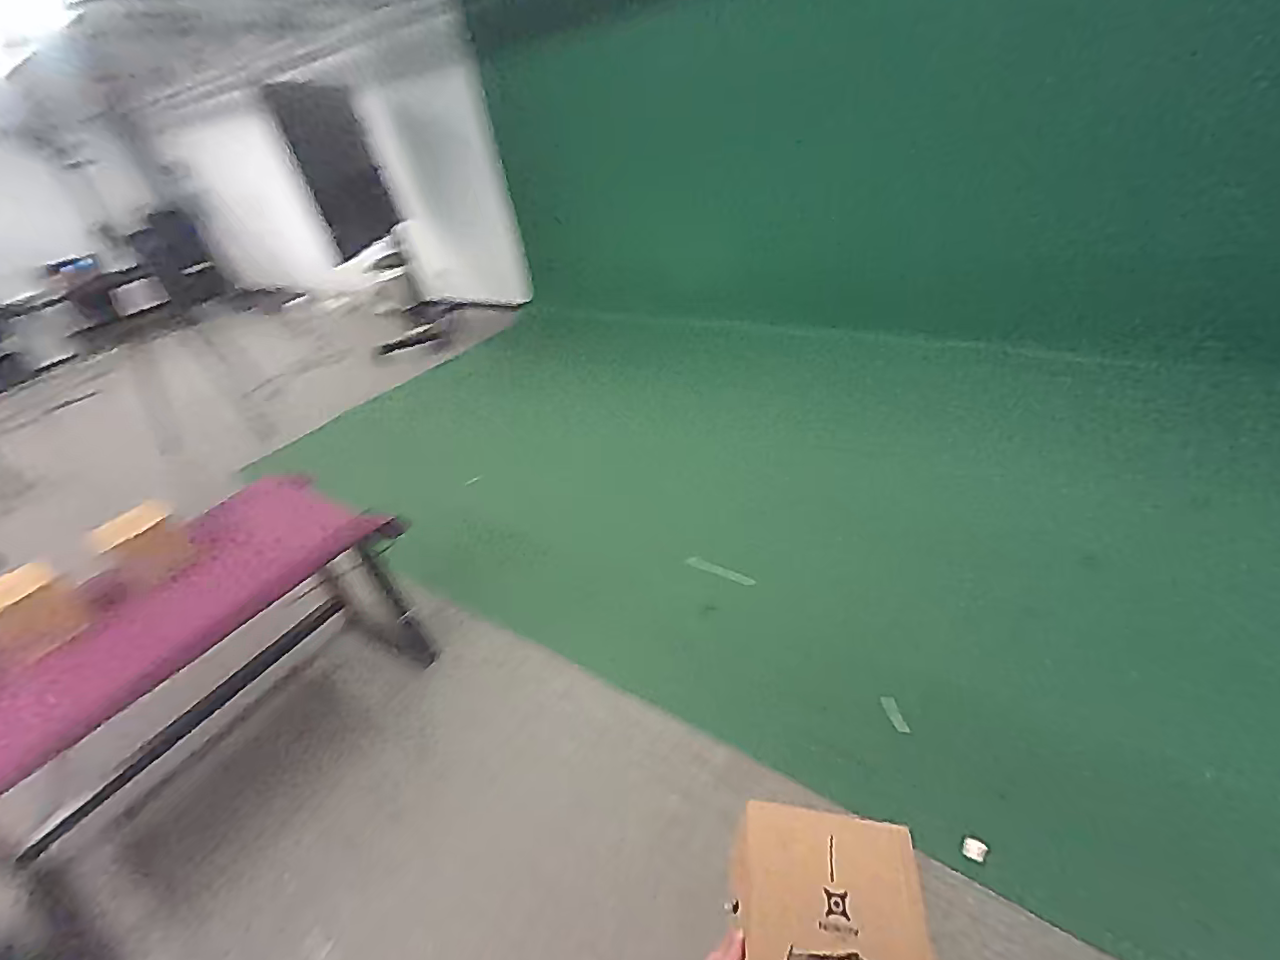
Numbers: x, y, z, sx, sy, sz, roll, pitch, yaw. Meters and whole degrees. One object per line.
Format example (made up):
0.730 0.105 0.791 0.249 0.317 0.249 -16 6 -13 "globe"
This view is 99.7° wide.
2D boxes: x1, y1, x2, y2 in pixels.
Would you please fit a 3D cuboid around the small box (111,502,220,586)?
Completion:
-1.439 0.196 1.646 0.179 0.176 0.168 16 45 32 "small box"

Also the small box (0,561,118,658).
-1.601 0.355 1.478 0.179 0.176 0.168 15 43 31 "small box"
